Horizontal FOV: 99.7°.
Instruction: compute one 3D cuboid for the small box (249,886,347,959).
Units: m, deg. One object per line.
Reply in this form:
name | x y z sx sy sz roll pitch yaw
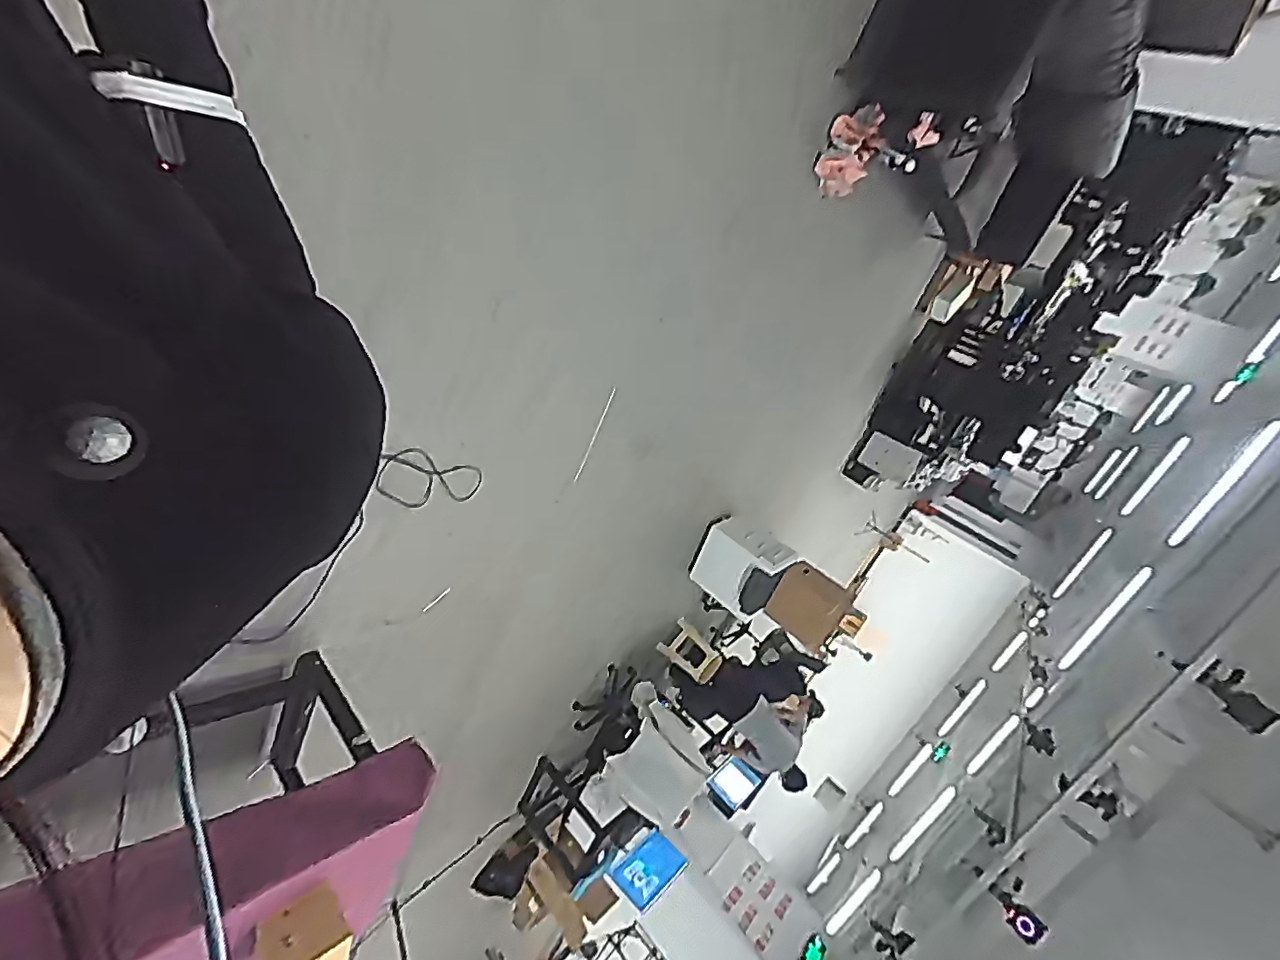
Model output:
small box | -0.878 1.195 1.382 0.168 0.176 0.179 -9 129 -49
